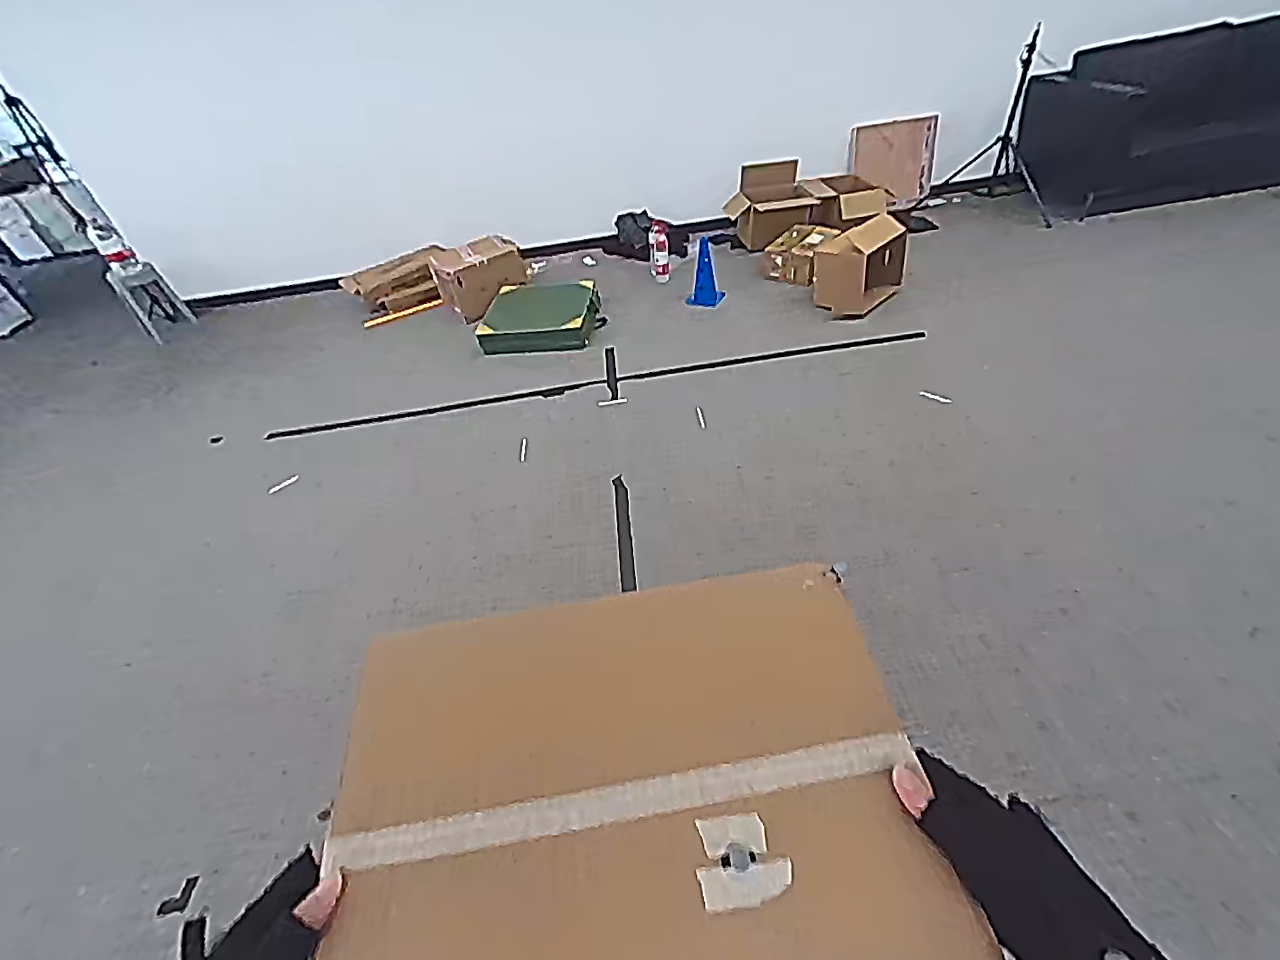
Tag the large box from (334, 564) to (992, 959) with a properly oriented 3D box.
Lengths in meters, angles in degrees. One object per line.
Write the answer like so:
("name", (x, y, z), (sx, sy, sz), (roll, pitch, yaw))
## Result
("large box", (0.001, 0.319, 0.504), (0.408, 0.320, 0.320), (-9, 50, -3))
